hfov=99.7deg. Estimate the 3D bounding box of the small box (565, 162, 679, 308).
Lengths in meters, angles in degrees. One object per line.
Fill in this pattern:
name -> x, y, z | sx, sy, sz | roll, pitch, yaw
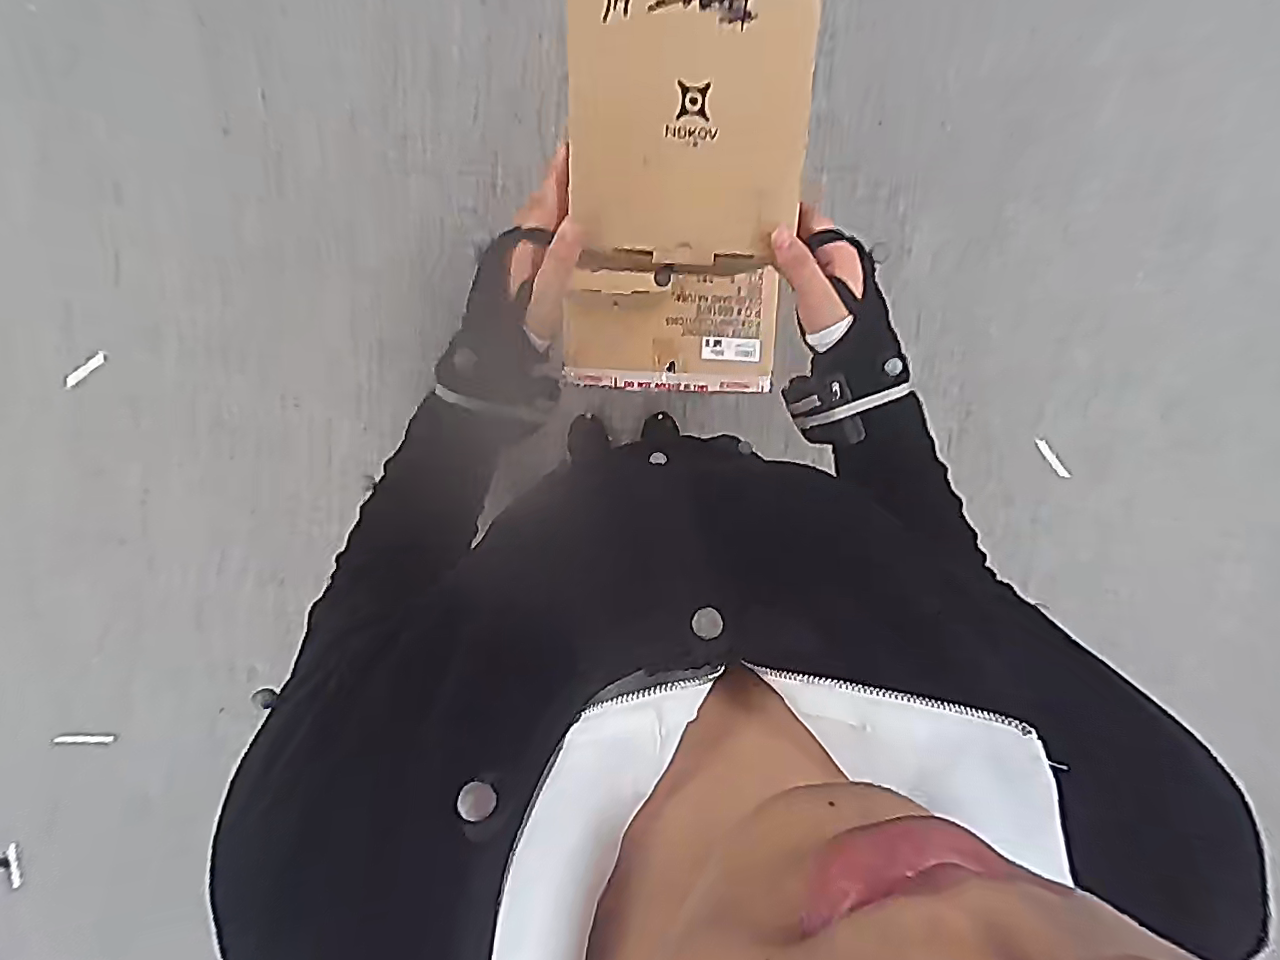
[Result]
small box -> -0.030, -0.380, 0.865 | 0.168, 0.176, 0.179 | 1, 100, -1
